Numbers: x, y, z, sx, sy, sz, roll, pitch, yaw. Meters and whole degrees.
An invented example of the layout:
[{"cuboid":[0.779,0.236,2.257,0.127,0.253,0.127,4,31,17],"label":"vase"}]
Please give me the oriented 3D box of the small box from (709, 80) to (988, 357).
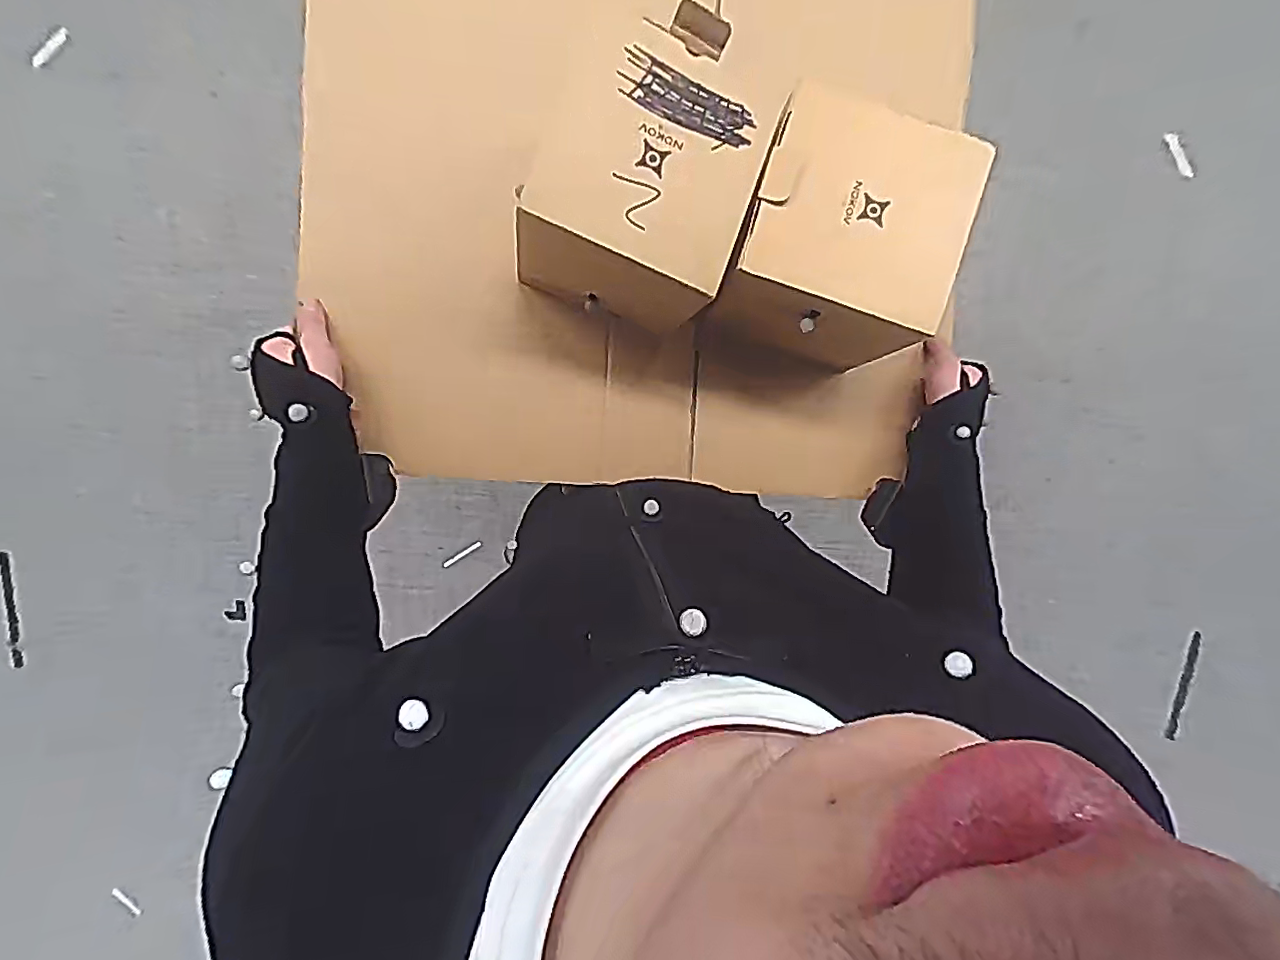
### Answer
[{"cuboid":[0.184,-0.231,0.531,0.179,0.176,0.168,17,91,-3],"label":"small box"}]
